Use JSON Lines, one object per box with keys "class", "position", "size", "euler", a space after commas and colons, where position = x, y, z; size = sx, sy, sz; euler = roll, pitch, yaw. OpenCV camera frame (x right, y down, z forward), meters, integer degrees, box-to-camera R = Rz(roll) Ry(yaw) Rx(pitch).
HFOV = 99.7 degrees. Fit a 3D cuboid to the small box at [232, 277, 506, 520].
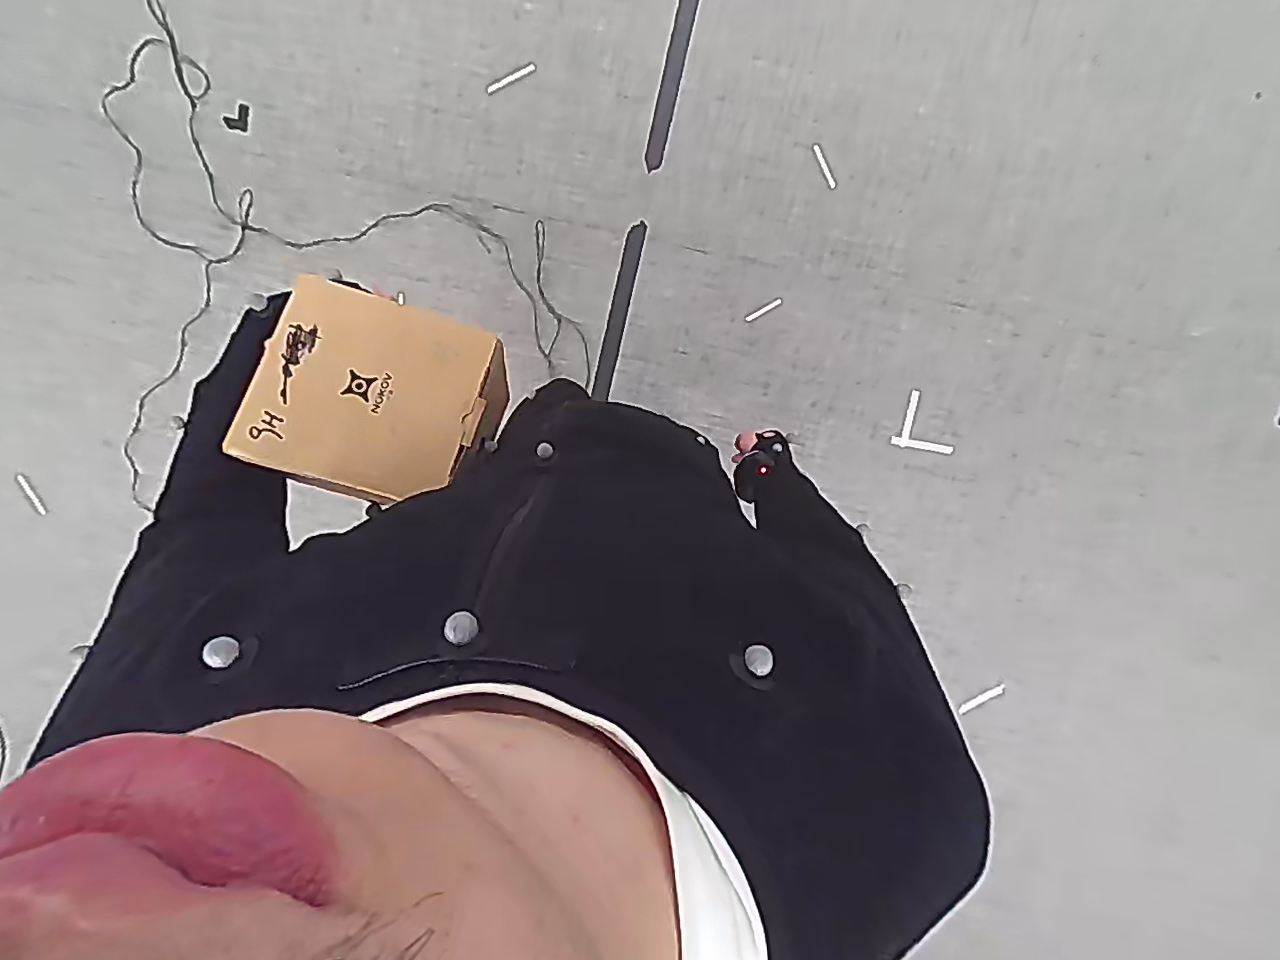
{"class": "small box", "position": [-0.241, -0.062, 0.539], "size": [0.179, 0.176, 0.168], "euler": [17, 77, -8]}
